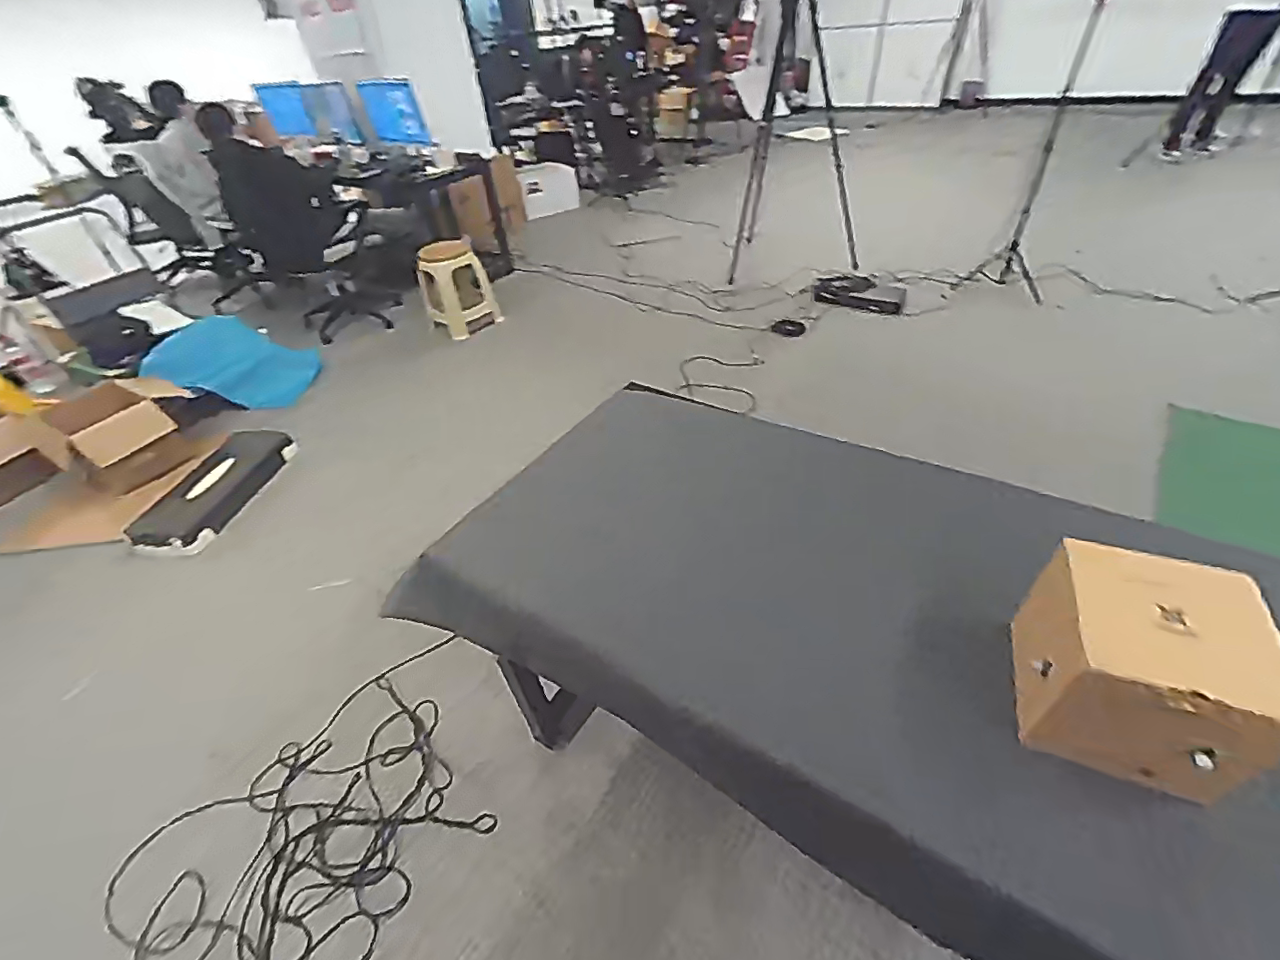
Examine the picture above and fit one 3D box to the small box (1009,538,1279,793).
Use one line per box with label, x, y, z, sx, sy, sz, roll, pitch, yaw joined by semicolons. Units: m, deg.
small box;0.522;0.196;0.579;0.168;0.176;0.179;13;43;20
